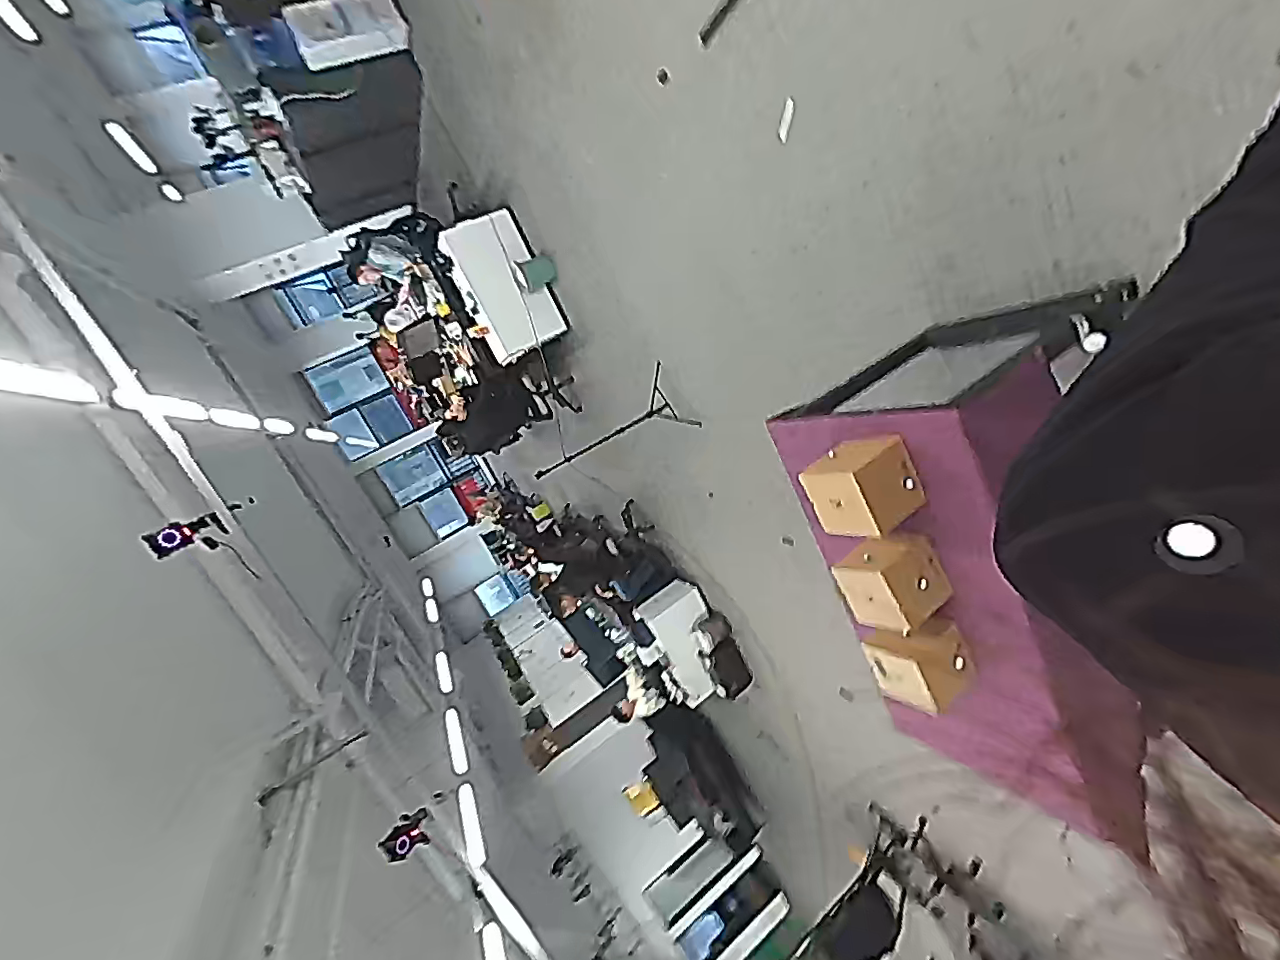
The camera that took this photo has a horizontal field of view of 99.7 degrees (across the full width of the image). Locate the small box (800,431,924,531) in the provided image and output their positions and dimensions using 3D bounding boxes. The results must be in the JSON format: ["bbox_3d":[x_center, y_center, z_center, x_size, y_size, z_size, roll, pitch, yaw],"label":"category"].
[{"bbox_3d":[0.517,-0.001,1.264,0.168,0.176,0.179,61,161,-11],"label":"small box"}]

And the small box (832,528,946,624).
[{"bbox_3d":[0.628,0.232,1.353,0.168,0.176,0.179,60,161,-6],"label":"small box"}]

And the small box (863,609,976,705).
[{"bbox_3d":[0.737,0.449,1.427,0.168,0.176,0.179,61,160,-11],"label":"small box"}]
